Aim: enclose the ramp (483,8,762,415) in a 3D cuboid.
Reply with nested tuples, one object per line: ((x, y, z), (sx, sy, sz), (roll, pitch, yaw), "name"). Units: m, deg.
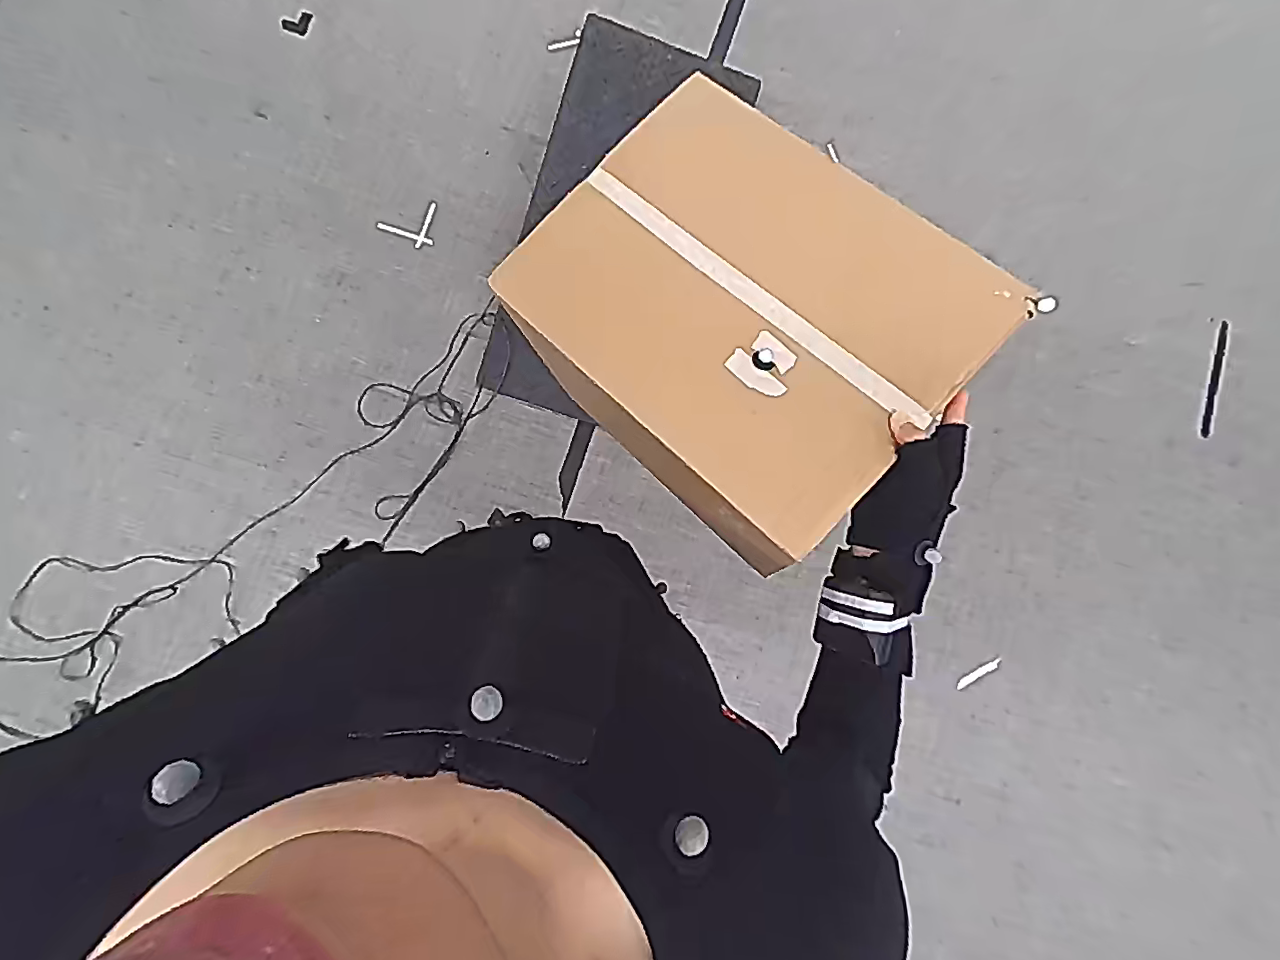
((-0.052, -0.682, 1.467), (0.509, 0.206, 0.991), (16, 85, -6), "ramp")

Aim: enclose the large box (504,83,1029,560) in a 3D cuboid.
((0.120, -0.155, 0.660), (0.408, 0.320, 0.320), (43, 87, 14), "large box")
